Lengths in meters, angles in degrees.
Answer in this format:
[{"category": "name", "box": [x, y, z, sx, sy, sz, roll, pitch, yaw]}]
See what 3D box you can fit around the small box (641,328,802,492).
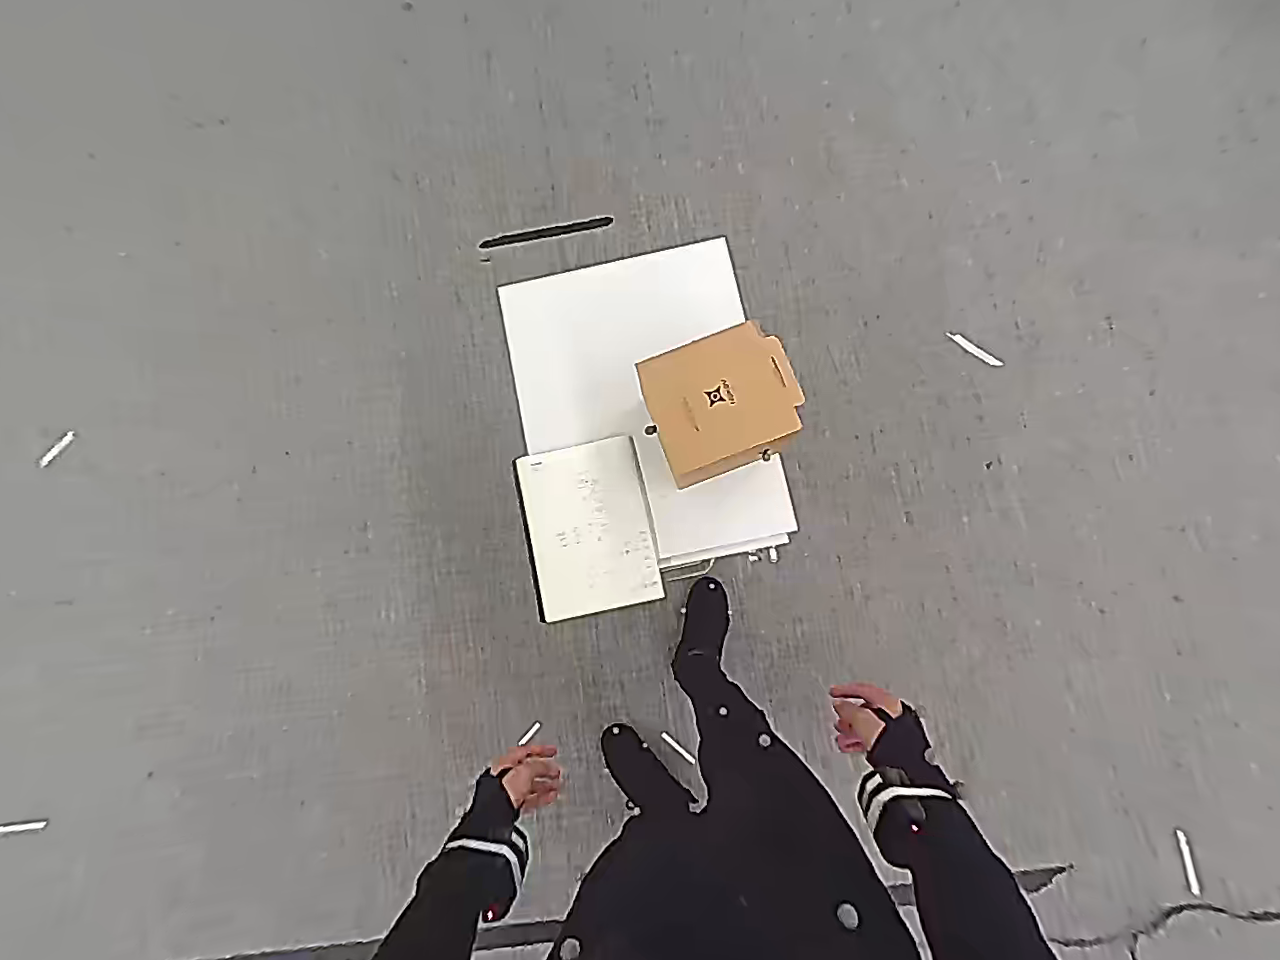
[{"category": "small box", "box": [0.110, -0.092, 0.797, 0.179, 0.176, 0.168, -20, 81, 1]}]
